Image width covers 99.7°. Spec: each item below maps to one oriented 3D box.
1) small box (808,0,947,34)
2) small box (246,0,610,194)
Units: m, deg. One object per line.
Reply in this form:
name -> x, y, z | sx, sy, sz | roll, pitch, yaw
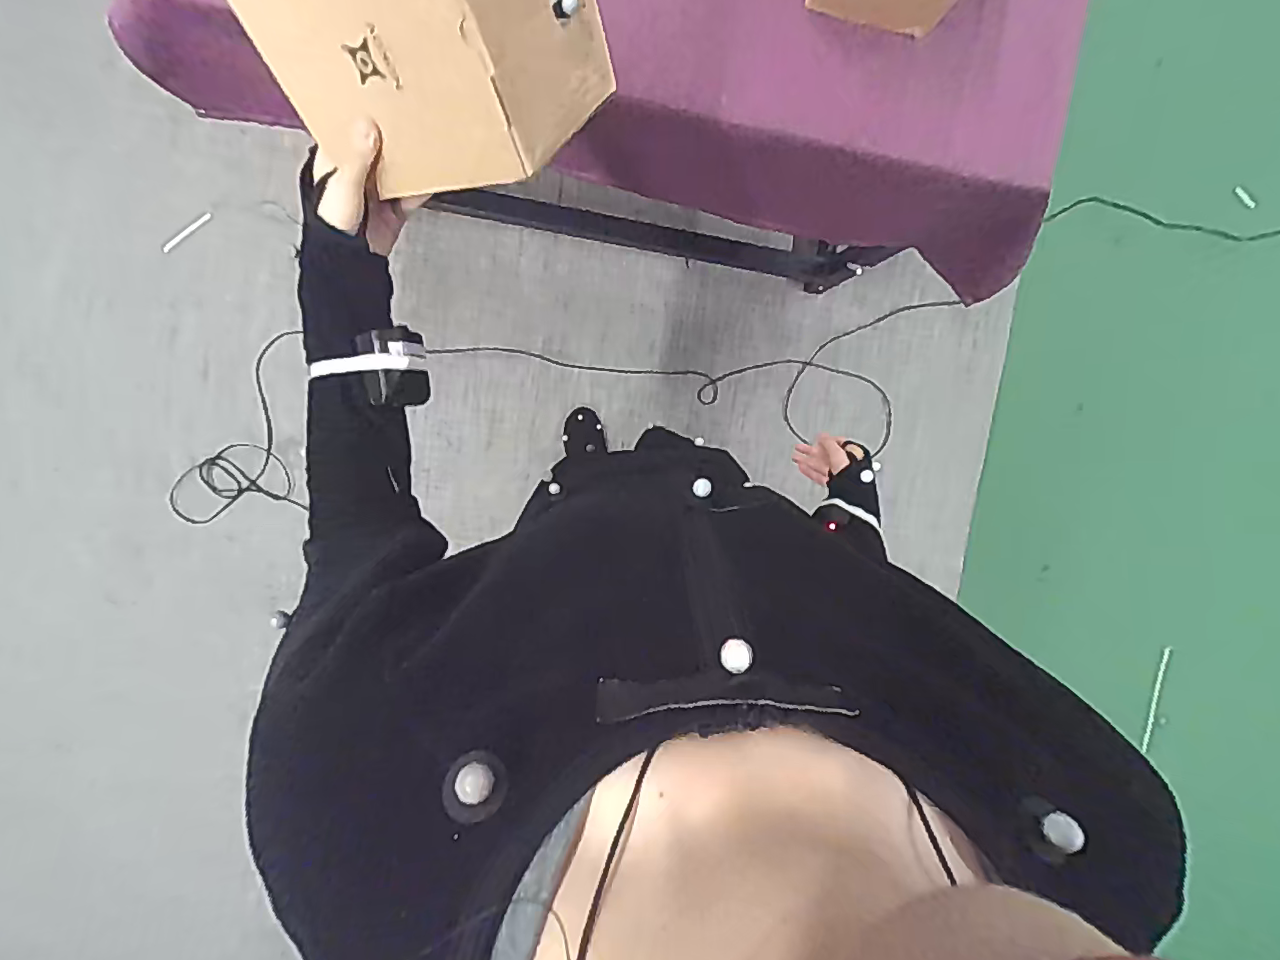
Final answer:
small box -> 0.323, -0.692, 0.652 | 0.179, 0.176, 0.168 | 8, 96, -8
small box -> -0.145, -0.339, 0.400 | 0.179, 0.168, 0.176 | 6, 52, 23
